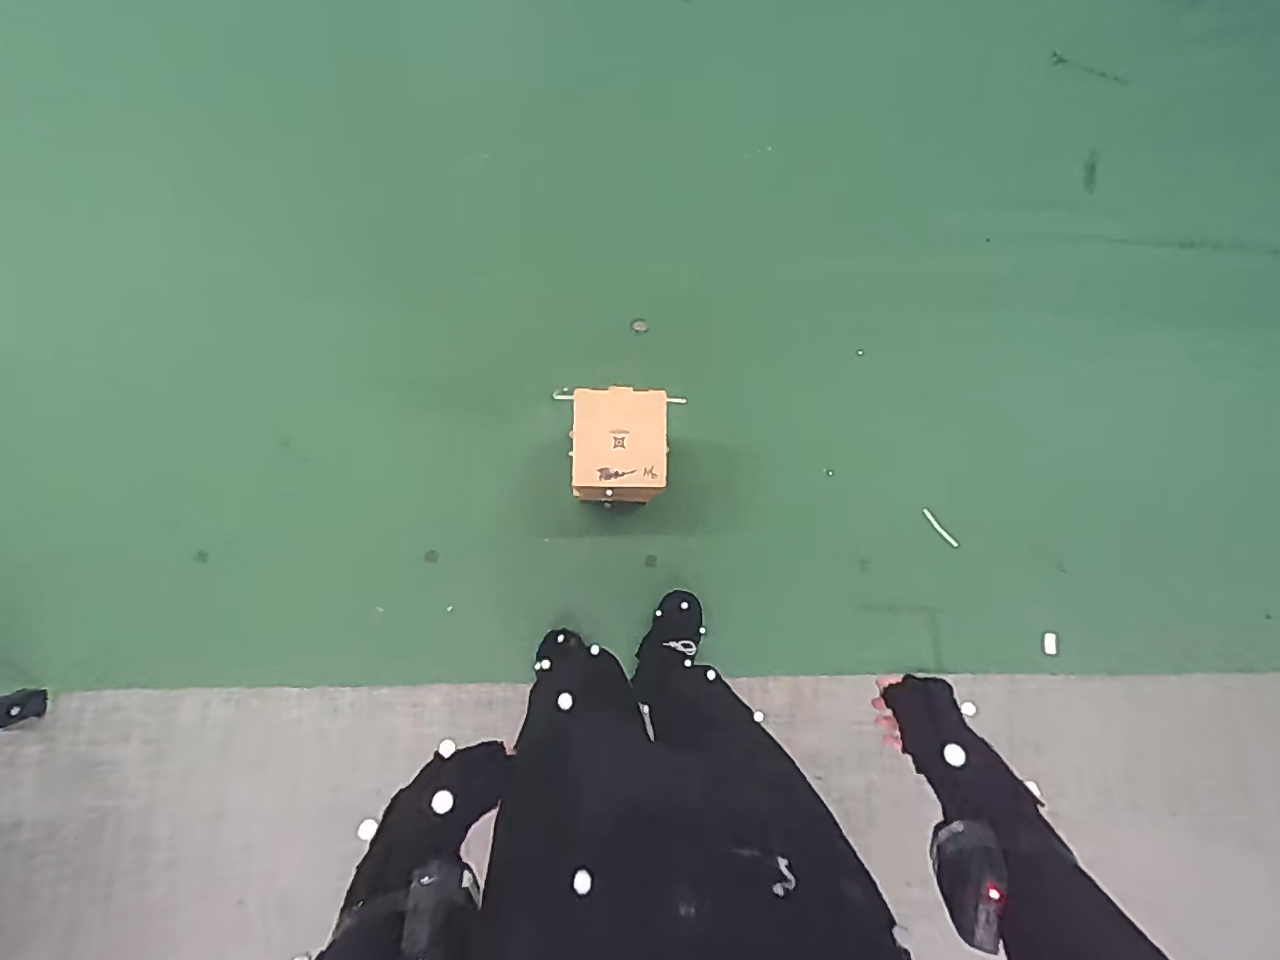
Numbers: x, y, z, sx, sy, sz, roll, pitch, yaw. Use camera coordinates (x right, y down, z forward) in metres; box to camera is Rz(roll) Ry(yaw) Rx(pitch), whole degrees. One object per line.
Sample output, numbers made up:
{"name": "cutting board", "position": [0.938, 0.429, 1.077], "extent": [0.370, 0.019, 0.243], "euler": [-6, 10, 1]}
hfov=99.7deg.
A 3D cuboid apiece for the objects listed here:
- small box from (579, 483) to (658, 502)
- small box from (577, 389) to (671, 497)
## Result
{"name": "small box", "position": [-0.046, -0.043, 1.194], "extent": [0.168, 0.176, 0.179], "euler": [1, 86, -2]}
{"name": "small box", "position": [-0.031, -0.065, 1.032], "extent": [0.168, 0.176, 0.179], "euler": [1, 83, -2]}
